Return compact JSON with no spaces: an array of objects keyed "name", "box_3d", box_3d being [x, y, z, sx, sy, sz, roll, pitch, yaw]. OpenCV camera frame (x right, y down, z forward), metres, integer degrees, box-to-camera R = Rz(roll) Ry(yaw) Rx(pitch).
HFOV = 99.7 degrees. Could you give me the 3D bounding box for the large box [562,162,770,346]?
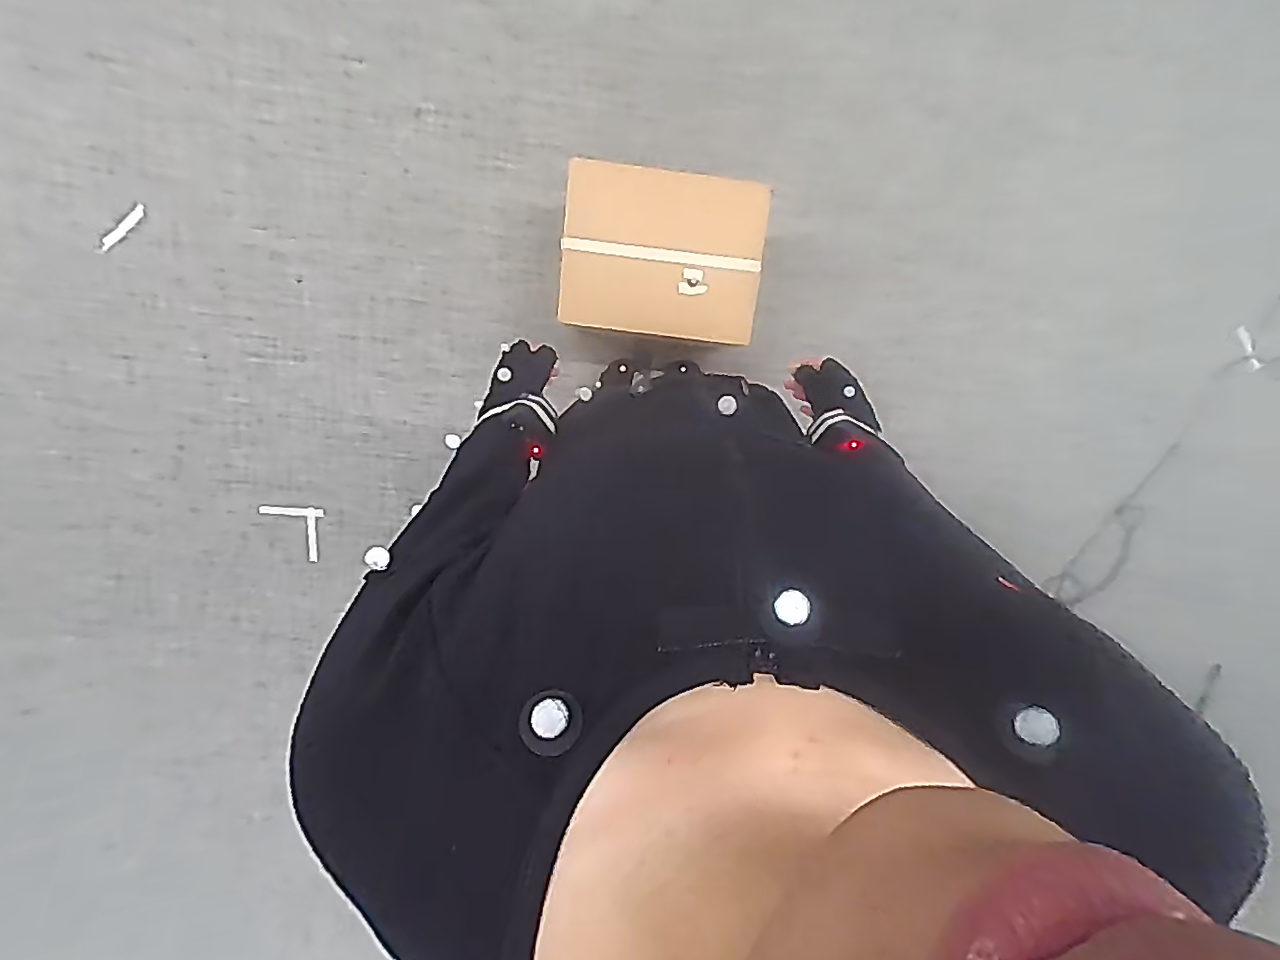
[{"name":"large box","box_3d":[0.040,-0.485,1.236,0.408,0.320,0.320,6,103,-4]}]
